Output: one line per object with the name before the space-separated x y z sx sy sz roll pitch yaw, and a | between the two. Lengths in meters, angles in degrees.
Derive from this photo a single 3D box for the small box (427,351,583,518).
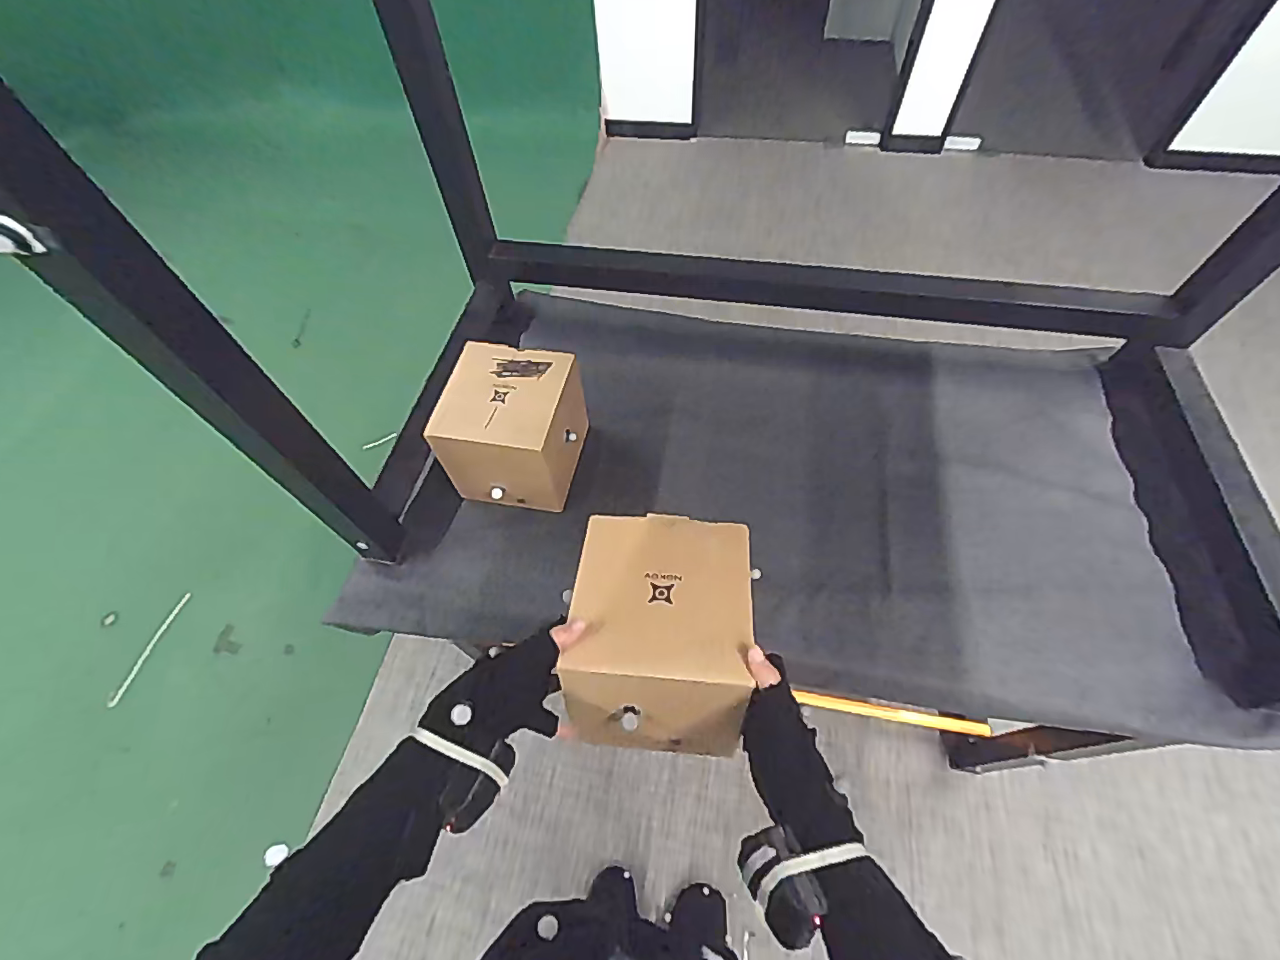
small box | -0.188 -0.066 0.819 0.168 0.176 0.179 8 58 7

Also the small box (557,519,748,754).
small box | 0.020 0.164 0.564 0.168 0.176 0.179 3 43 4
